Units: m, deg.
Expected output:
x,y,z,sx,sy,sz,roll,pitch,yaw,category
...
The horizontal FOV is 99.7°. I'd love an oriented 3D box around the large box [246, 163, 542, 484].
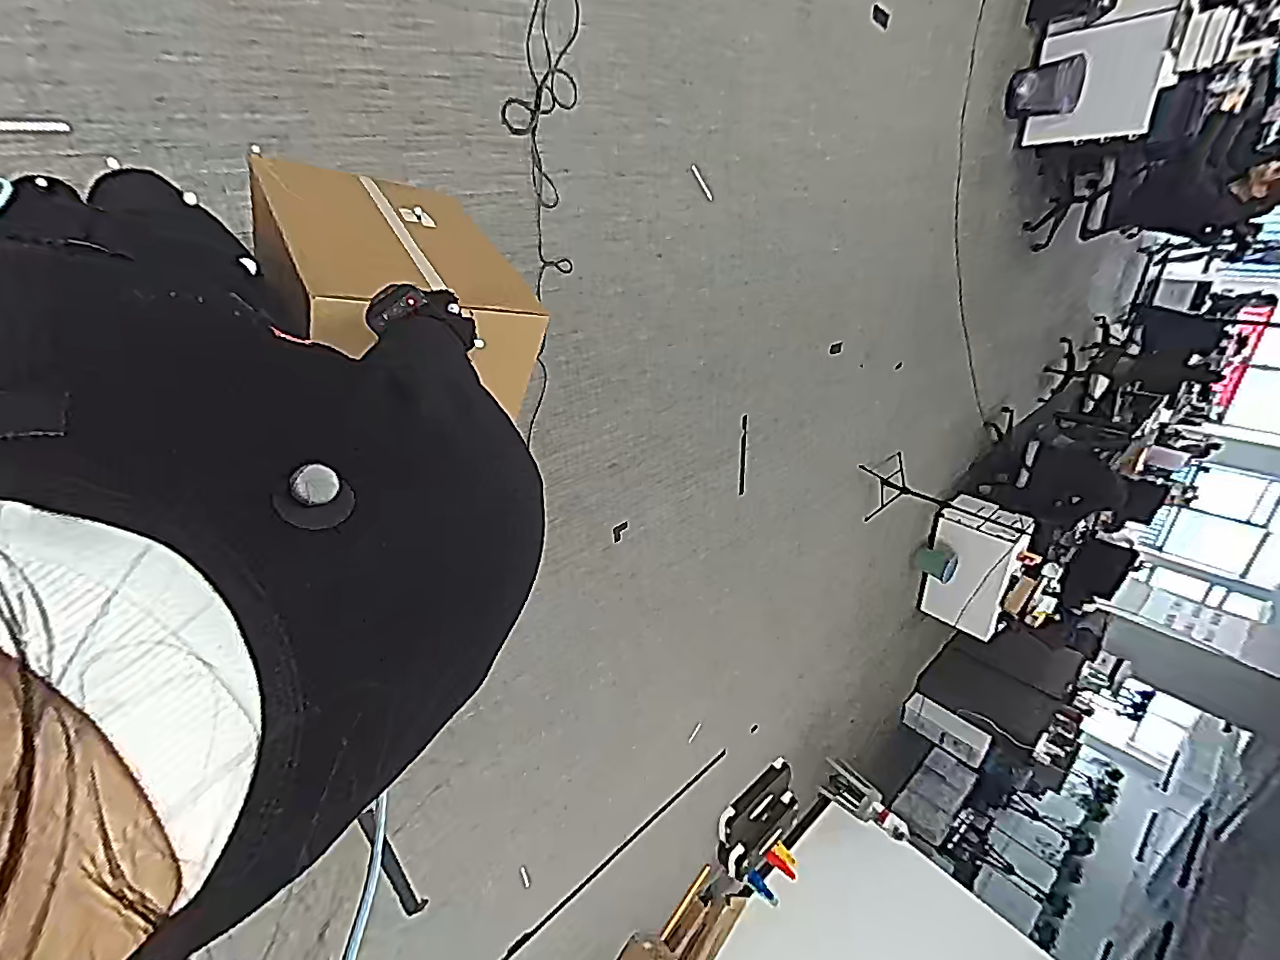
x,y,z,sx,sy,sz,roll,pitch,yaw,category
-0.422,-0.252,0.896,0.320,0.408,0.320,-9,139,-42,large box
